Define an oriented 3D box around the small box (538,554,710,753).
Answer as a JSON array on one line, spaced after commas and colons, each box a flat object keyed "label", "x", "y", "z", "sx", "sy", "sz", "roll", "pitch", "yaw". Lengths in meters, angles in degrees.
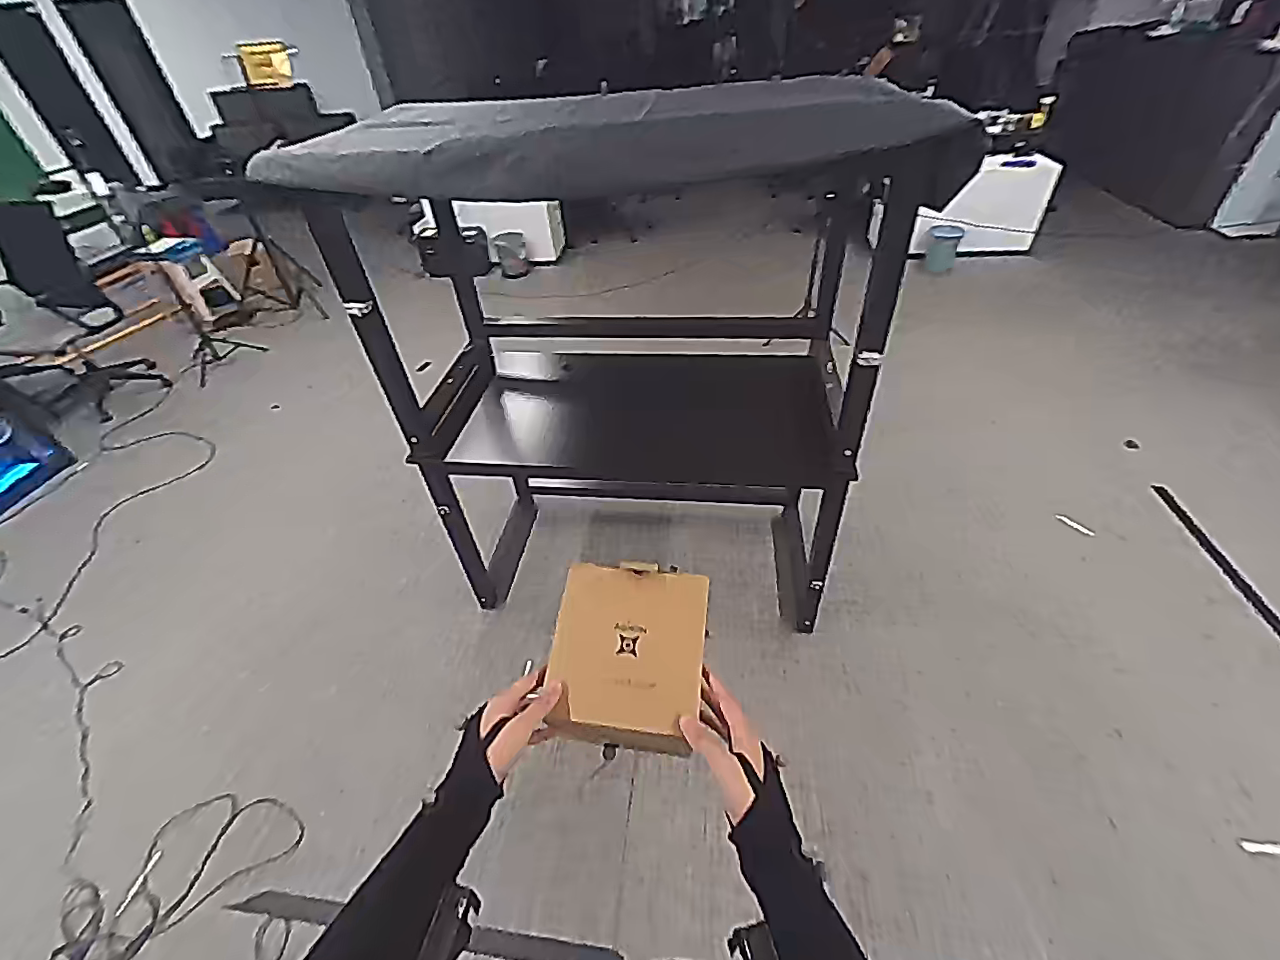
[{"label": "small box", "x": -0.009, "y": 0.209, "z": 0.645, "sx": 0.168, "sy": 0.176, "sz": 0.179, "roll": 4, "pitch": 57, "yaw": 6}]
